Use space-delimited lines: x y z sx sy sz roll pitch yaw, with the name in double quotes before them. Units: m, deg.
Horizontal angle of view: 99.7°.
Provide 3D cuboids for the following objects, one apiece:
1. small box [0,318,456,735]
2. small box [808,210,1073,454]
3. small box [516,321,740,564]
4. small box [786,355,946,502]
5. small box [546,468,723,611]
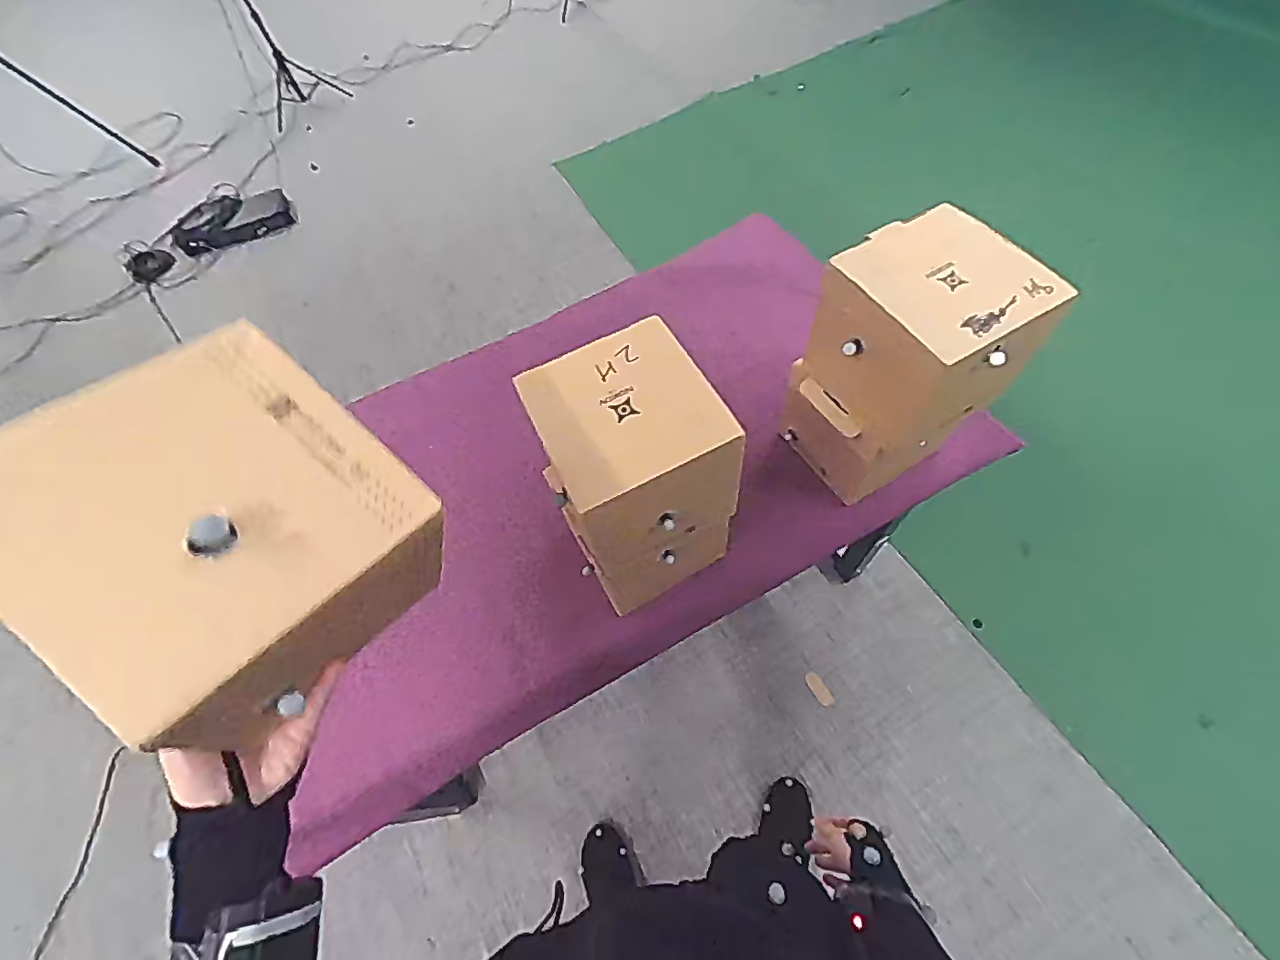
"small box" -0.238 0.034 0.343 0.168 0.179 0.176 42 58 2
"small box" 0.317 -0.162 0.618 0.168 0.176 0.179 -28 61 -8
"small box" -0.008 -0.028 0.583 0.168 0.176 0.179 -26 61 -8
"small box" 0.326 -0.097 0.770 0.179 0.176 0.168 -30 63 -10
"small box" 0.001 0.051 0.726 0.179 0.176 0.168 -28 61 -9
